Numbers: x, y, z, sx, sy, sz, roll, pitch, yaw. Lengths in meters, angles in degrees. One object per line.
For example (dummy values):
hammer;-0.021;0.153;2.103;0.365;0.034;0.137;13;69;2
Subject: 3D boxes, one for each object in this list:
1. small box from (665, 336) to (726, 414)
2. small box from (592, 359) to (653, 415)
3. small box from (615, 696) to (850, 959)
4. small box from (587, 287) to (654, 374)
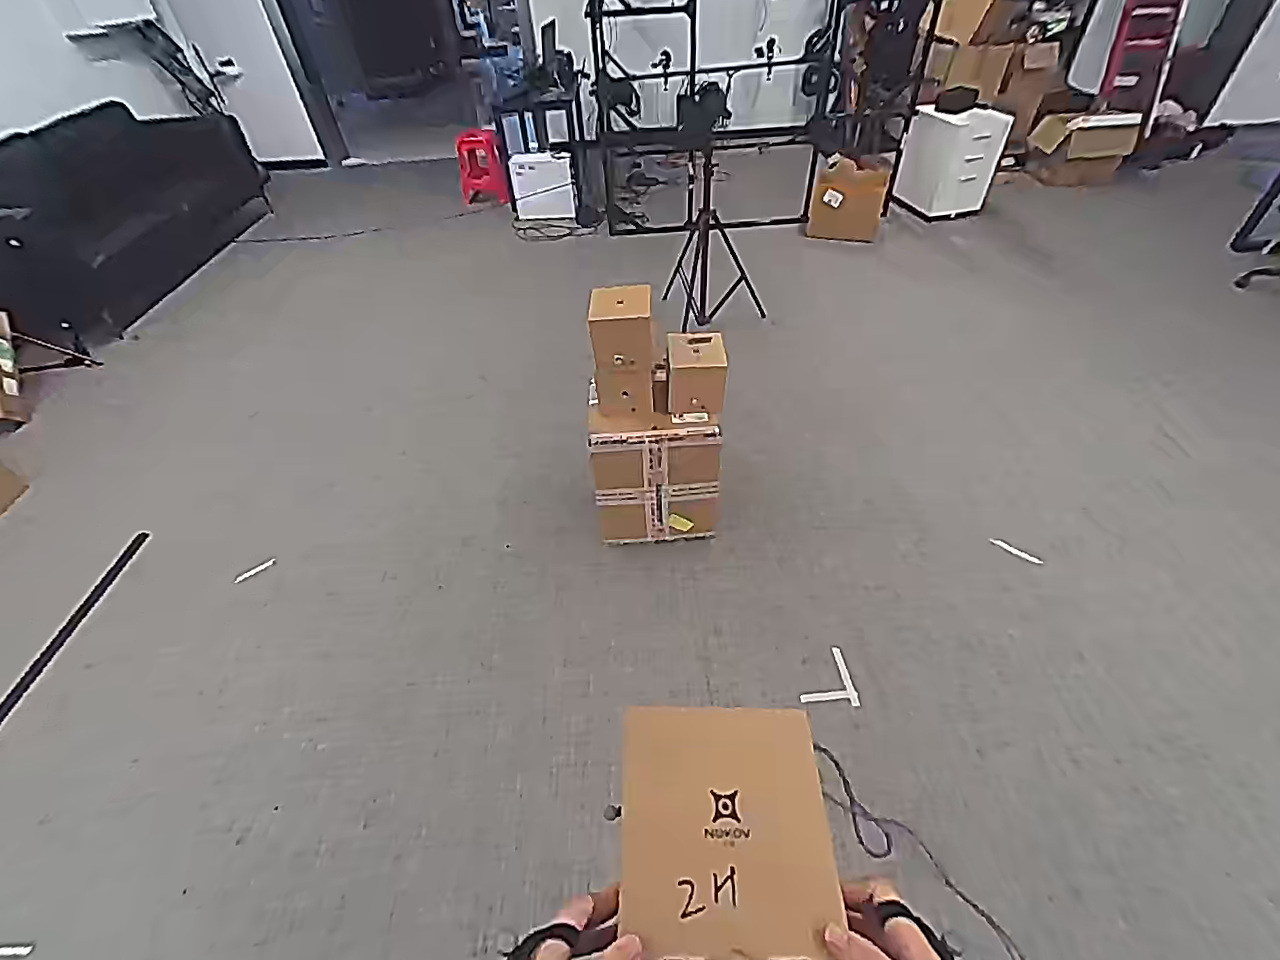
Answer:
small box;0.161;-0.317;1.632;0.168;0.176;0.179;-1;47;1
small box;-0.048;-0.310;1.637;0.168;0.176;0.179;-3;47;3
small box;0.063;0.315;0.488;0.168;0.176;0.179;1;47;-1
small box;-0.049;-0.418;1.515;0.168;0.176;0.179;-4;47;4
